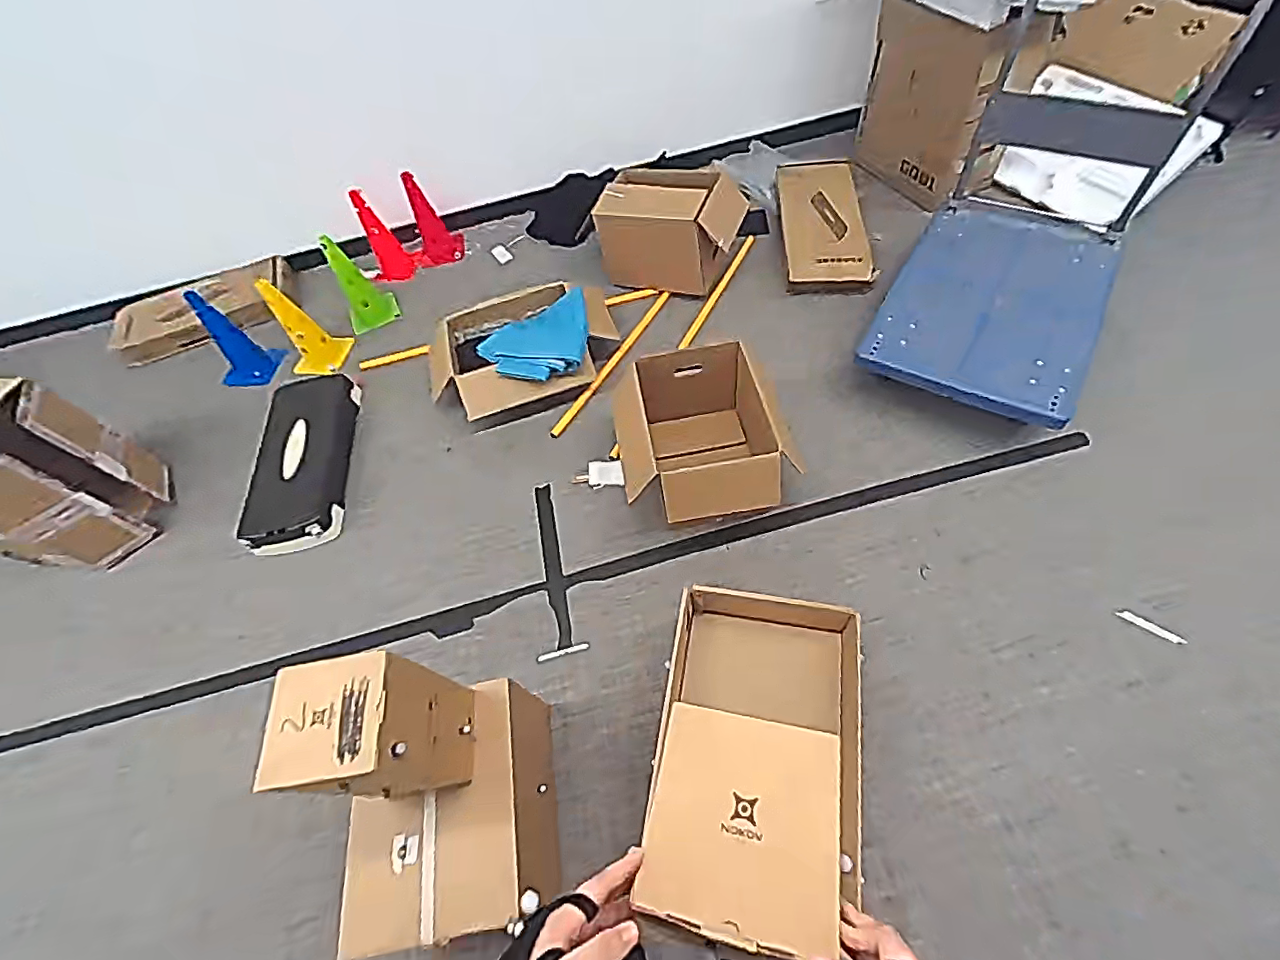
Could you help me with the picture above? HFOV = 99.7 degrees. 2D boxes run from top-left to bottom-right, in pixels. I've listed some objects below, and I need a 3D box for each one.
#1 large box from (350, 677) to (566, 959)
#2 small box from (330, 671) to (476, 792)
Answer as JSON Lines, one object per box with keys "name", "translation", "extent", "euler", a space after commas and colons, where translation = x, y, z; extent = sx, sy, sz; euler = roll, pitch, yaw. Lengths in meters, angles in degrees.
{"name": "large box", "translation": [-0.357, 0.675, 1.125], "extent": [0.320, 0.320, 0.408], "euler": [-14, 58, 1]}
{"name": "small box", "translation": [-0.415, 0.459, 0.976], "extent": [0.179, 0.176, 0.168], "euler": [-11, 59, 2]}
